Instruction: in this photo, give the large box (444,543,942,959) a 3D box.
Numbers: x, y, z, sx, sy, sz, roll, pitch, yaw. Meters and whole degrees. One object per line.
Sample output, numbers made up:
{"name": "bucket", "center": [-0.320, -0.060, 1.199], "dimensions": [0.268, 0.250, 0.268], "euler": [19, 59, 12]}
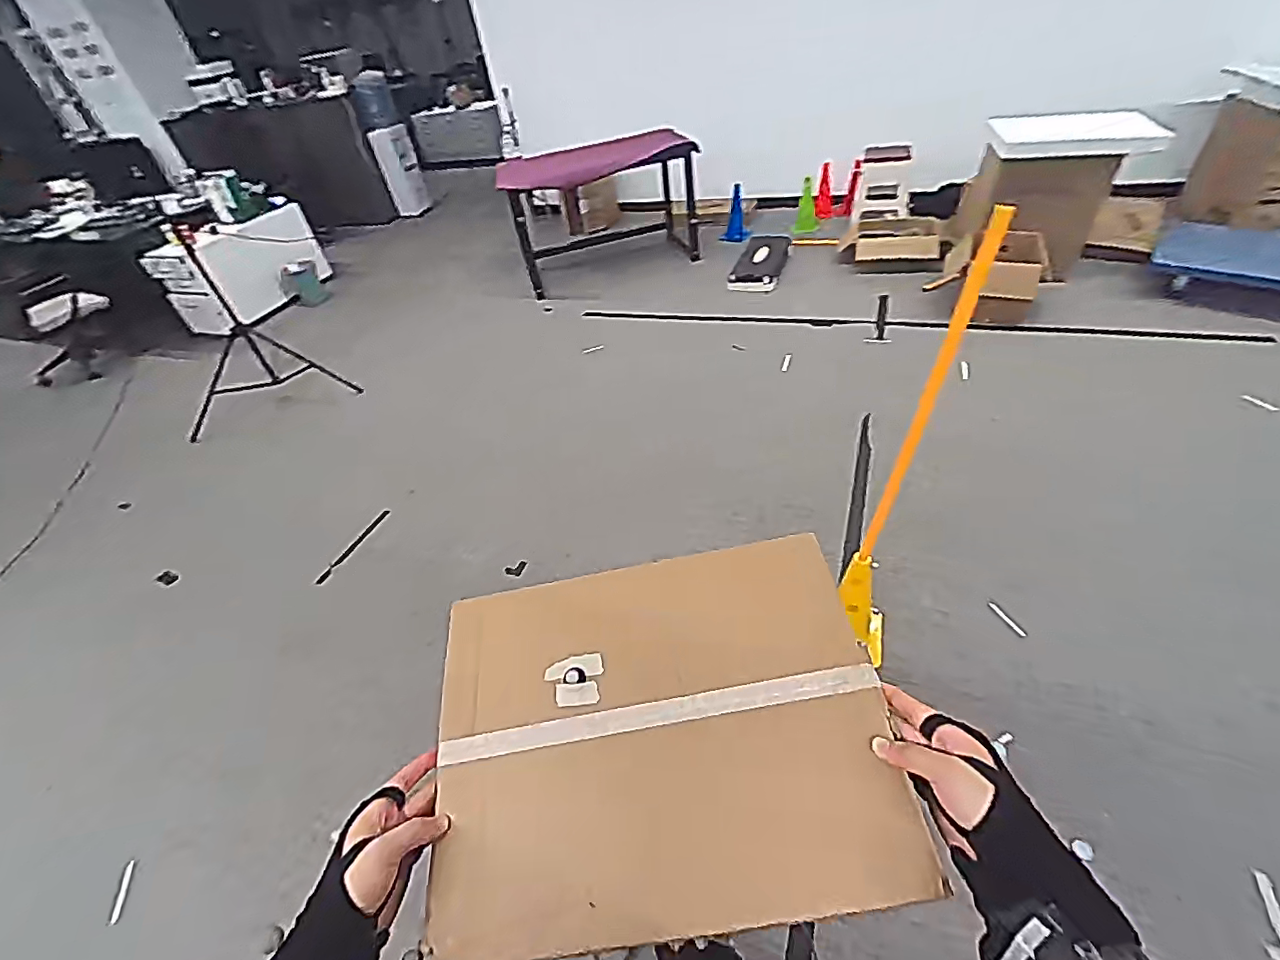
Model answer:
{"name": "large box", "center": [0.044, 0.315, 0.624], "dimensions": [0.408, 0.320, 0.320], "euler": [-12, 51, 4]}
